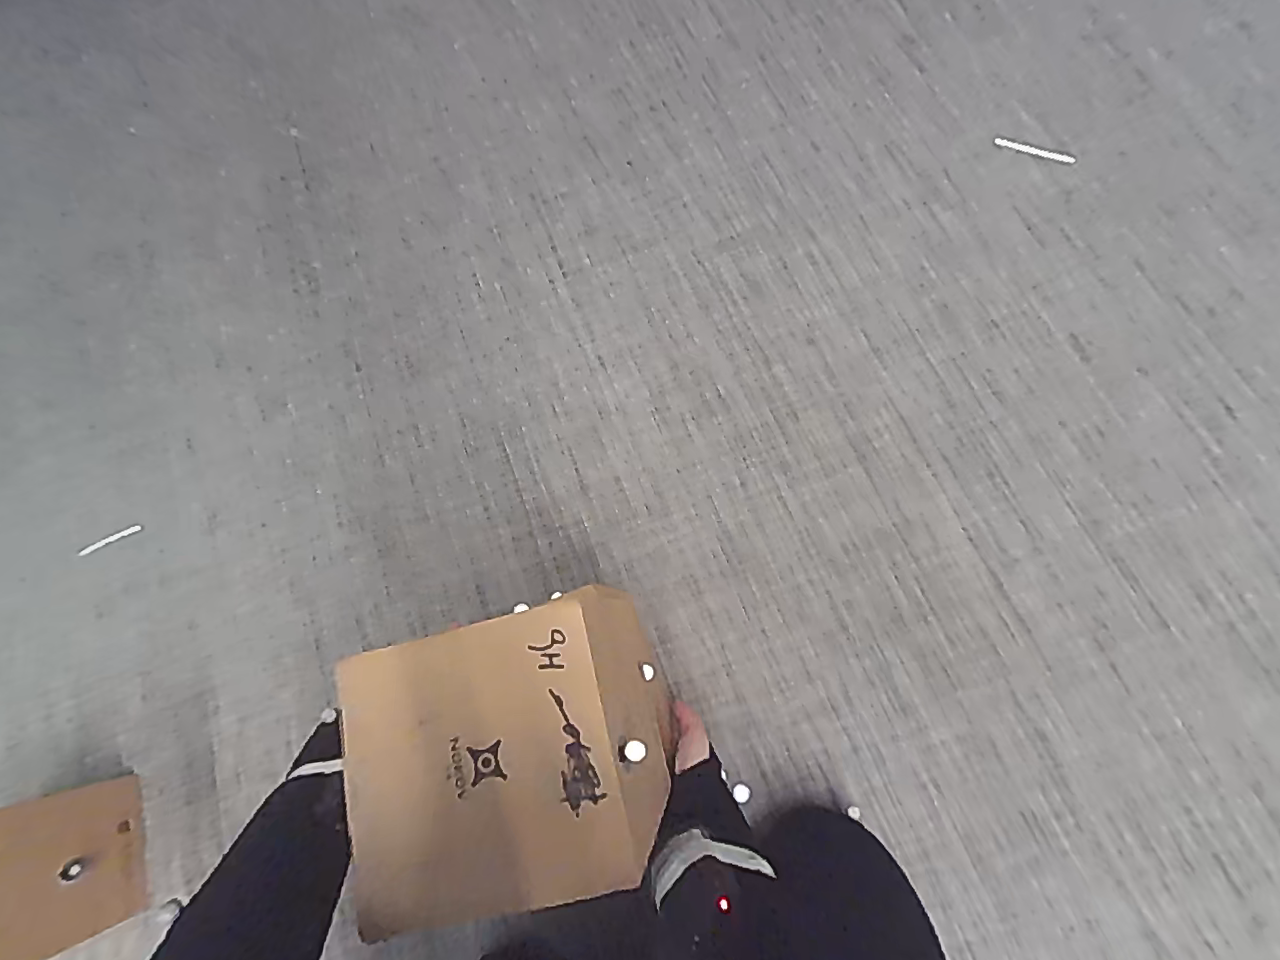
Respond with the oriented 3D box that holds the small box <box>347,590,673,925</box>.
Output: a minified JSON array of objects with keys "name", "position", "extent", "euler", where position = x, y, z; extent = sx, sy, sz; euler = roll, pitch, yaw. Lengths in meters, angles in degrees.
[{"name":"small box","position":[-0.085,0.189,0.414],"extent":[0.179,0.176,0.168],"euler":[-17,74,6]}]

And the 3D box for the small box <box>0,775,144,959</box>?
[{"name":"small box","position":[-0.731,0.474,0.632],"extent":[0.179,0.176,0.168],"euler":[-23,73,4]}]
